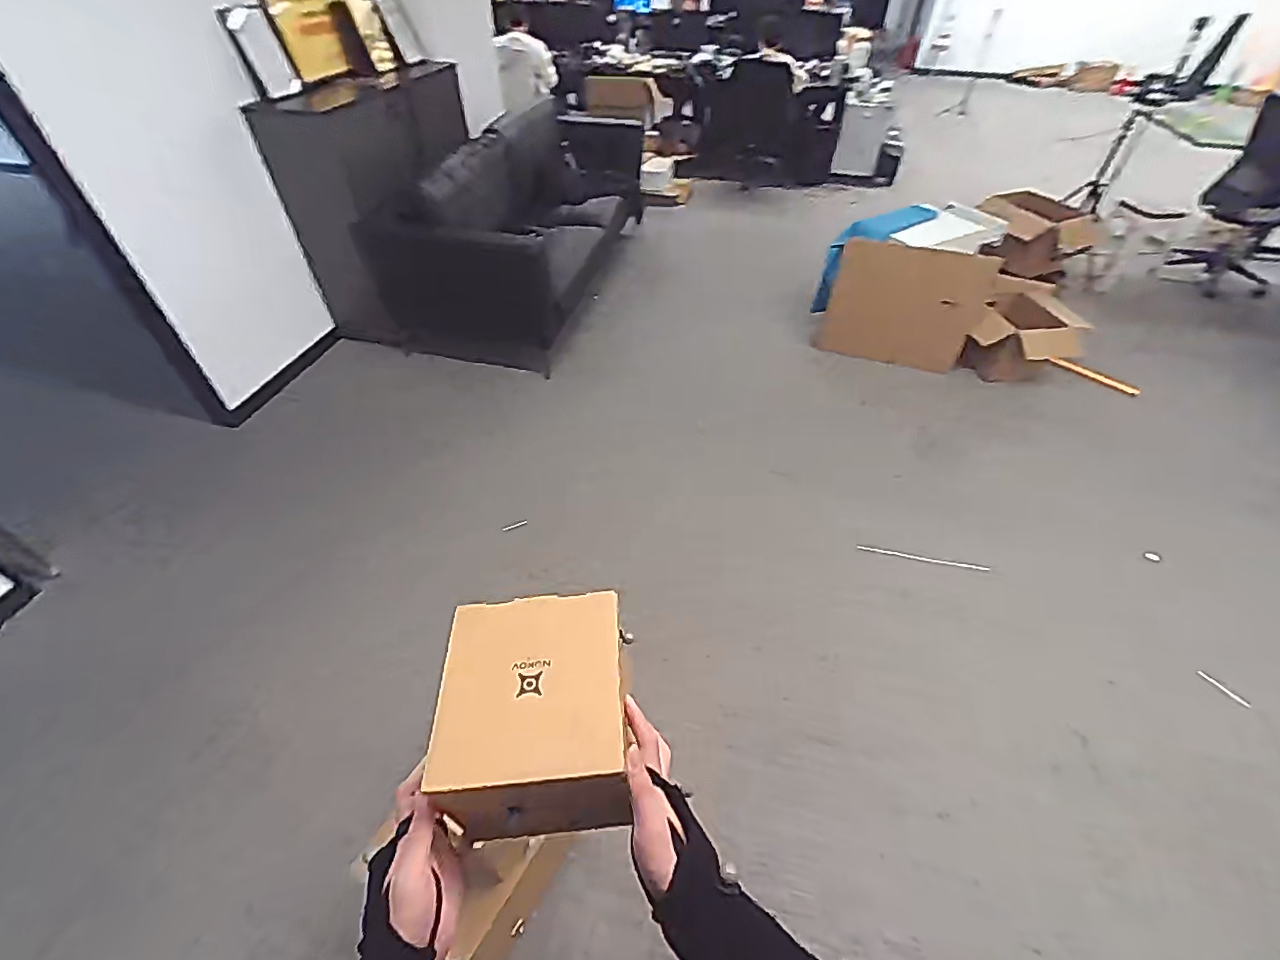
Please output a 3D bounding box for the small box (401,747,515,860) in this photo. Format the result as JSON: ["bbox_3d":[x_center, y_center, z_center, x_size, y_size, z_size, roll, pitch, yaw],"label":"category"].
[{"bbox_3d":[-0.288,0.549,0.977,0.179,0.176,0.168,24,49,20],"label":"small box"}]

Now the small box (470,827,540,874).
[{"bbox_3d":[-0.296,0.659,1.098,0.179,0.176,0.168,27,51,21],"label":"small box"}]

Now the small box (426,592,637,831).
[{"bbox_3d":[-0.093,0.239,0.550,0.168,0.176,0.179,-5,45,-1],"label":"small box"}]
